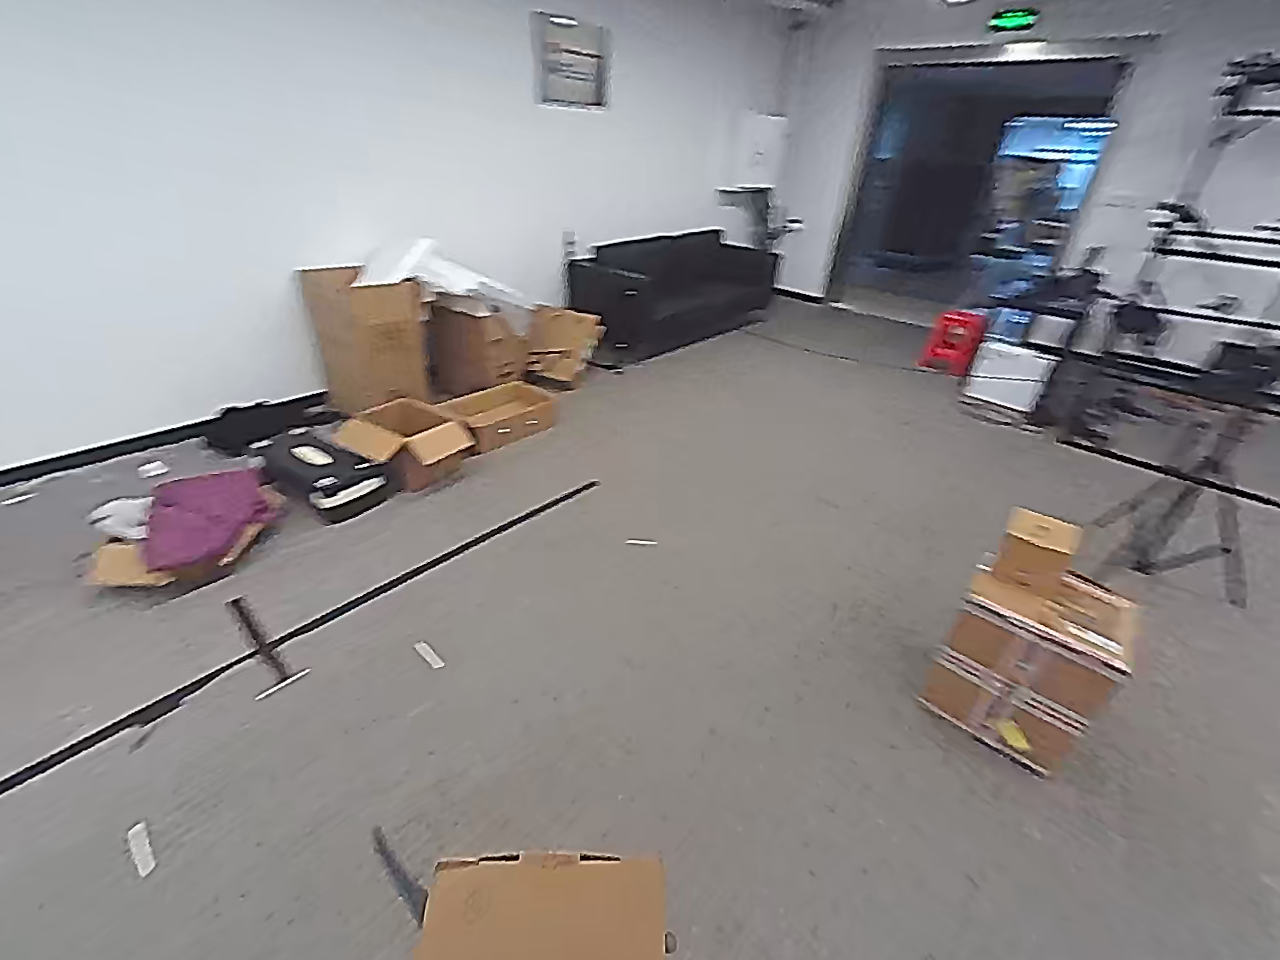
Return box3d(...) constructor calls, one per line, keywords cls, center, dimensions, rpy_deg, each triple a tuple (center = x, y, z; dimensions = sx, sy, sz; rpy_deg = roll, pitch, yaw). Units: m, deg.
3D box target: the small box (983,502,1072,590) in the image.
box3d(cls="small box", center=(1.175, 0.201, 1.647), dimensions=(0.168, 0.176, 0.179), rpy_deg=(24, 40, 33))
